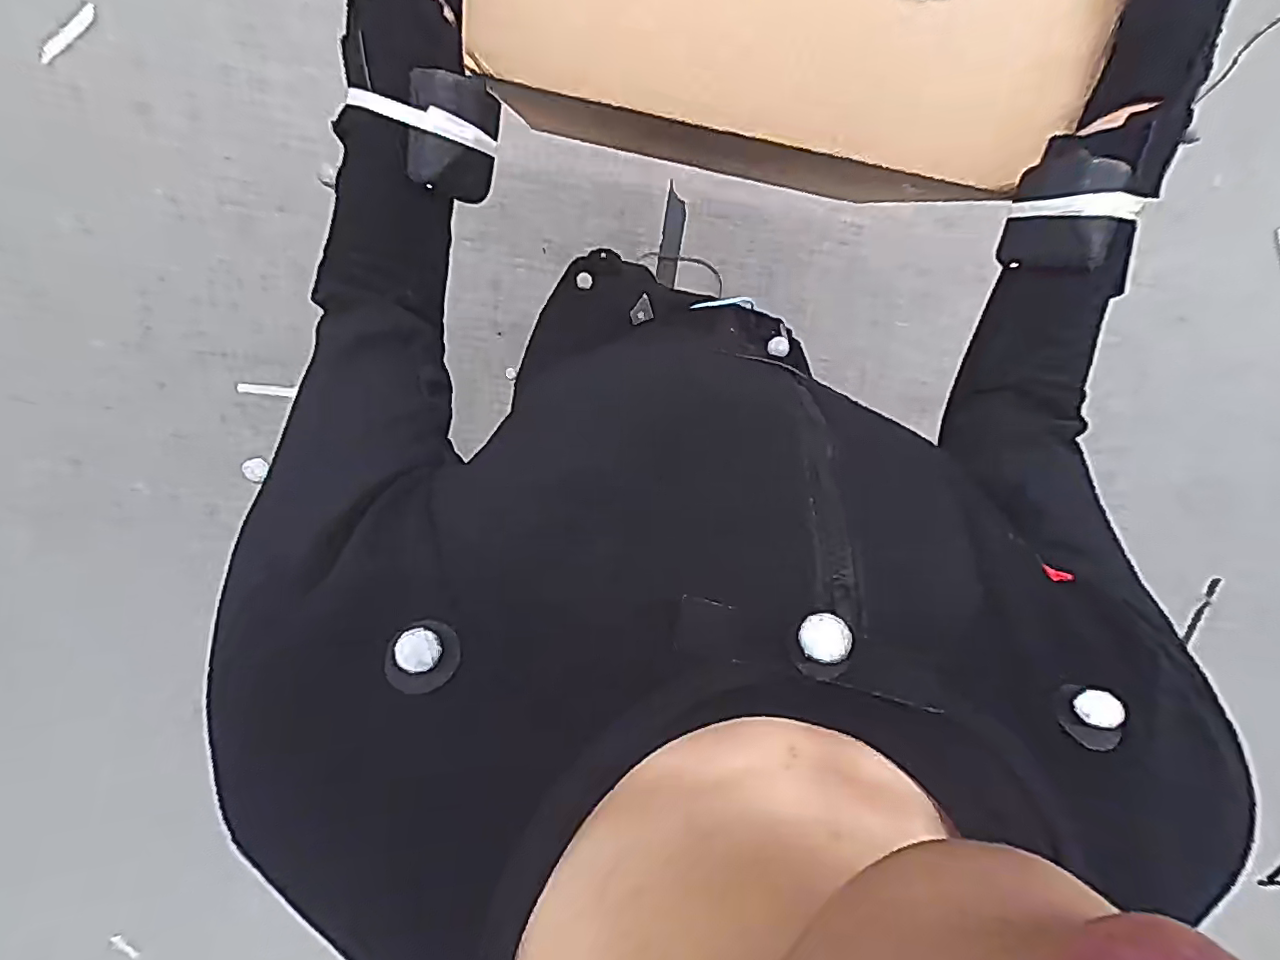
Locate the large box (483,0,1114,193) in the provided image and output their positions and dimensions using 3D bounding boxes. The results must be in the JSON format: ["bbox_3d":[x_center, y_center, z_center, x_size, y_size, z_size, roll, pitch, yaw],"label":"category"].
[{"bbox_3d":[0.106,-0.438,0.436,0.408,0.320,0.320,8,118,-8],"label":"large box"}]
